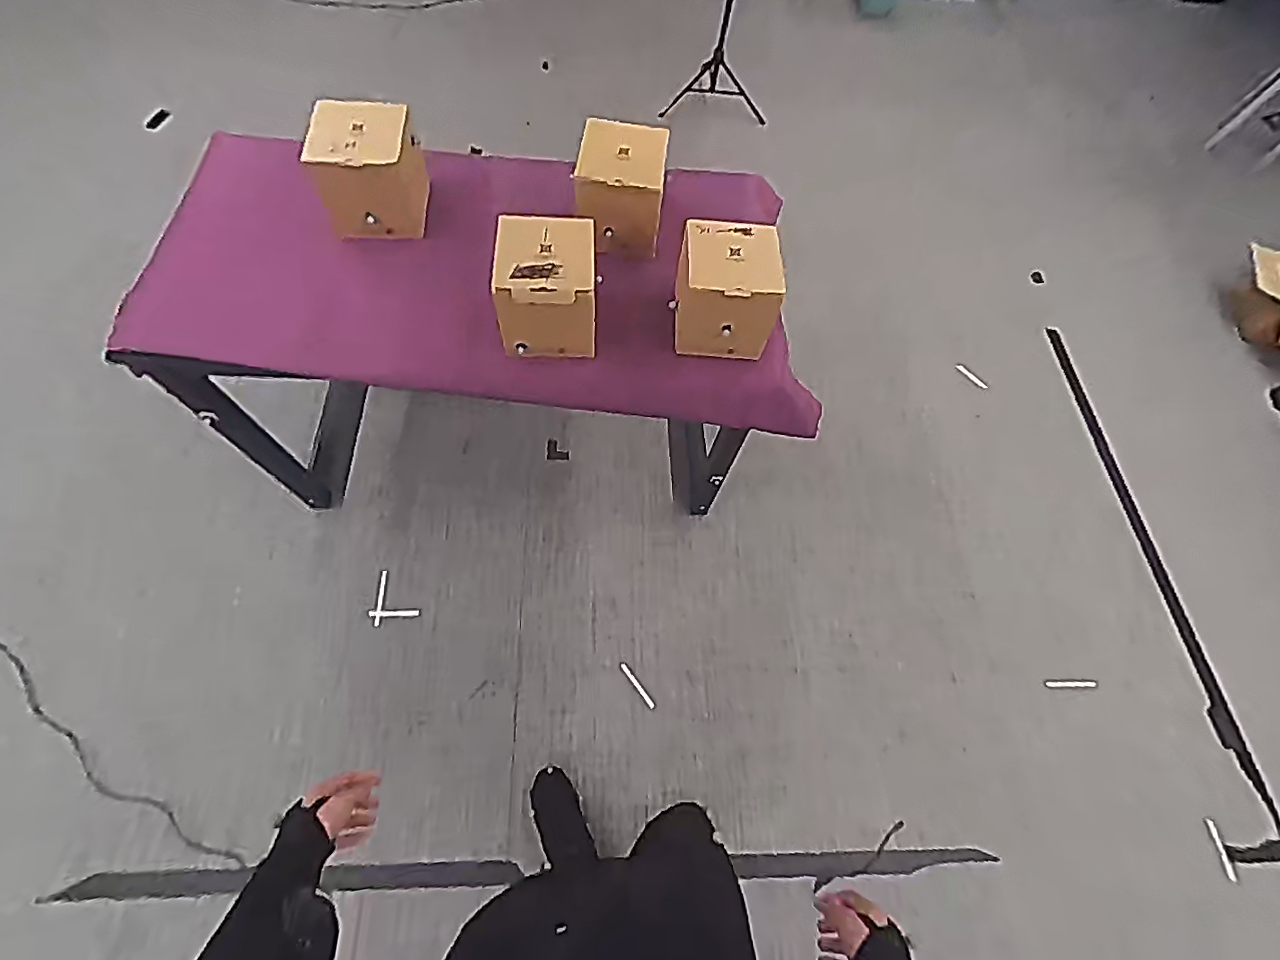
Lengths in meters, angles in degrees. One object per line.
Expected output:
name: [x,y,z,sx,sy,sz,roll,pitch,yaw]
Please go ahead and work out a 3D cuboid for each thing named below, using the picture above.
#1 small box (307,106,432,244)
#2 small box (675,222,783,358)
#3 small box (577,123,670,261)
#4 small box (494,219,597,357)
small box: [-0.522,-0.600,1.073,0.168,0.176,0.179,-2,65,-6]
small box: [0.158,-0.349,1.013,0.168,0.176,0.179,3,63,-3]
small box: [-0.036,-0.589,1.114,0.168,0.176,0.179,7,66,-2]
small box: [-0.163,-0.342,0.982,0.168,0.176,0.179,0,64,-5]
